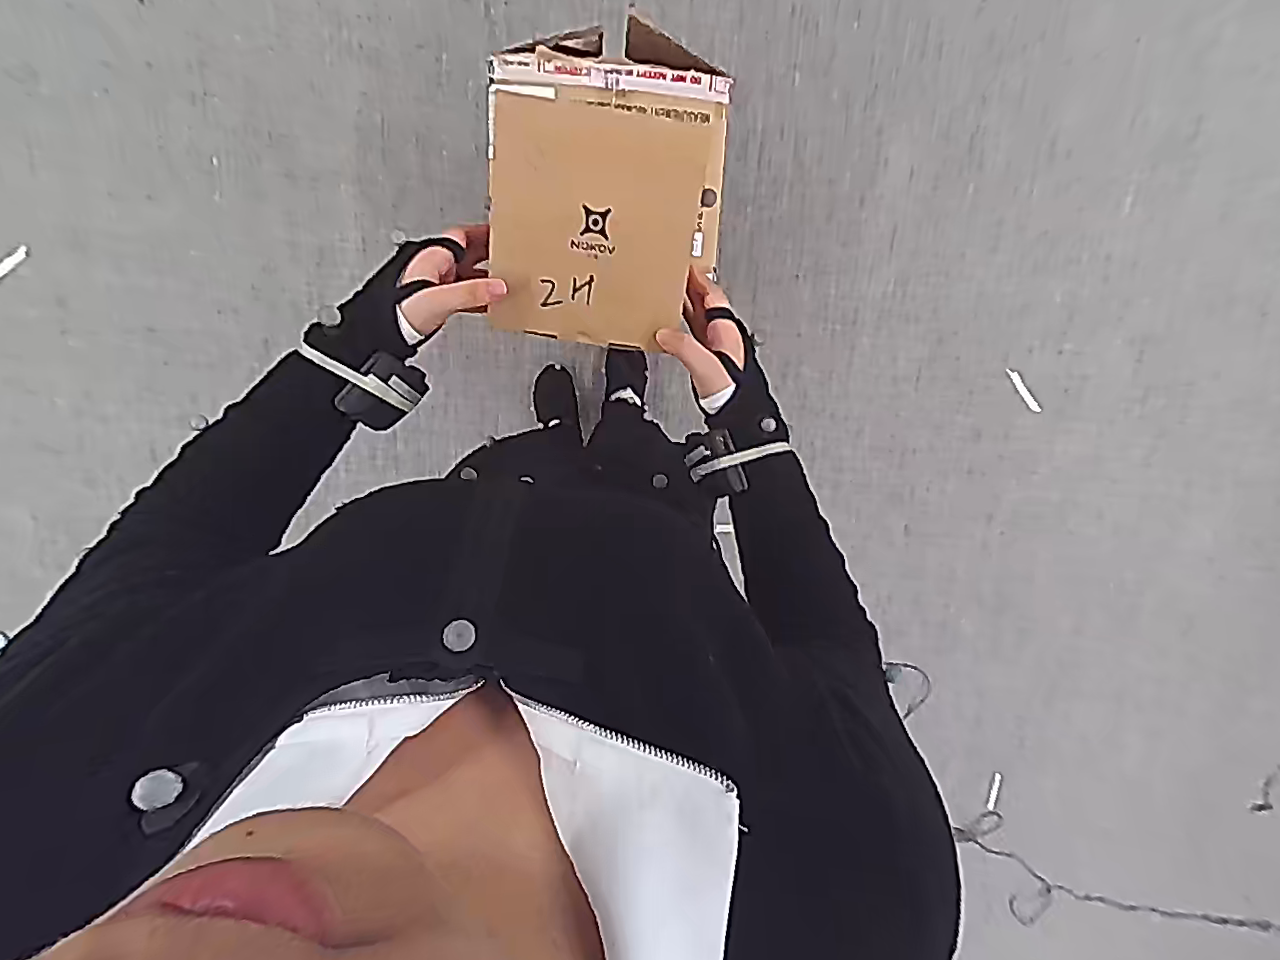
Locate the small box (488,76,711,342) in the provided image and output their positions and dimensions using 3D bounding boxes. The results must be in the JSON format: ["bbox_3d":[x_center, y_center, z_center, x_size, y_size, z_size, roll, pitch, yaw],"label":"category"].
[{"bbox_3d":[-0.041,-0.242,0.514,0.168,0.176,0.179,7,113,-5],"label":"small box"}]
